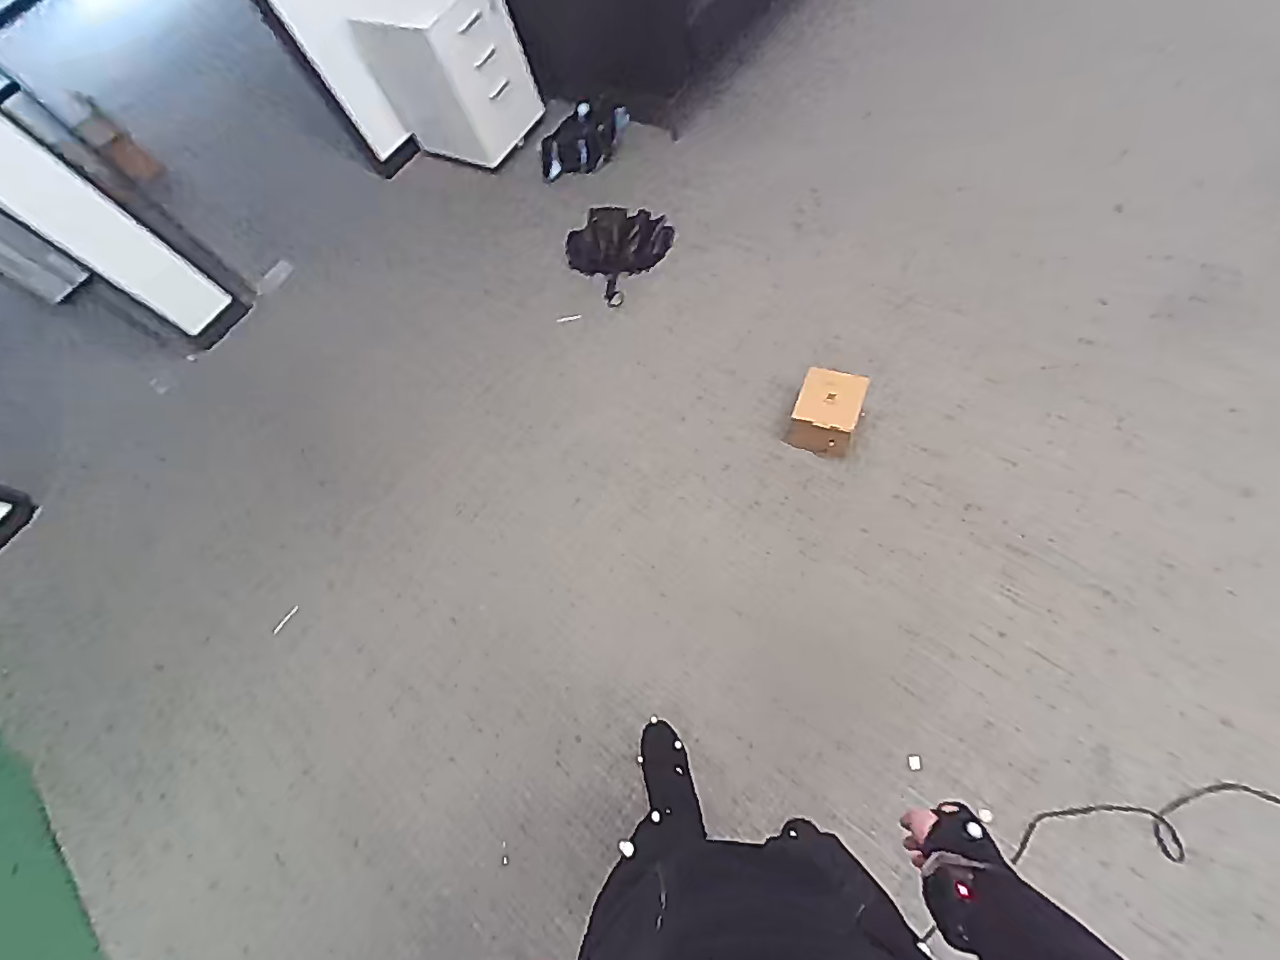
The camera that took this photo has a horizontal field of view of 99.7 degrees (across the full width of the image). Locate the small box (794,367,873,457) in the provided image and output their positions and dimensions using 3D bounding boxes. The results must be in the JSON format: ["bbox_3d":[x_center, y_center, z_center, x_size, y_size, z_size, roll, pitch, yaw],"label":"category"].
[{"bbox_3d":[0.544,-0.189,1.532,0.168,0.176,0.179,17,70,21],"label":"small box"}]
